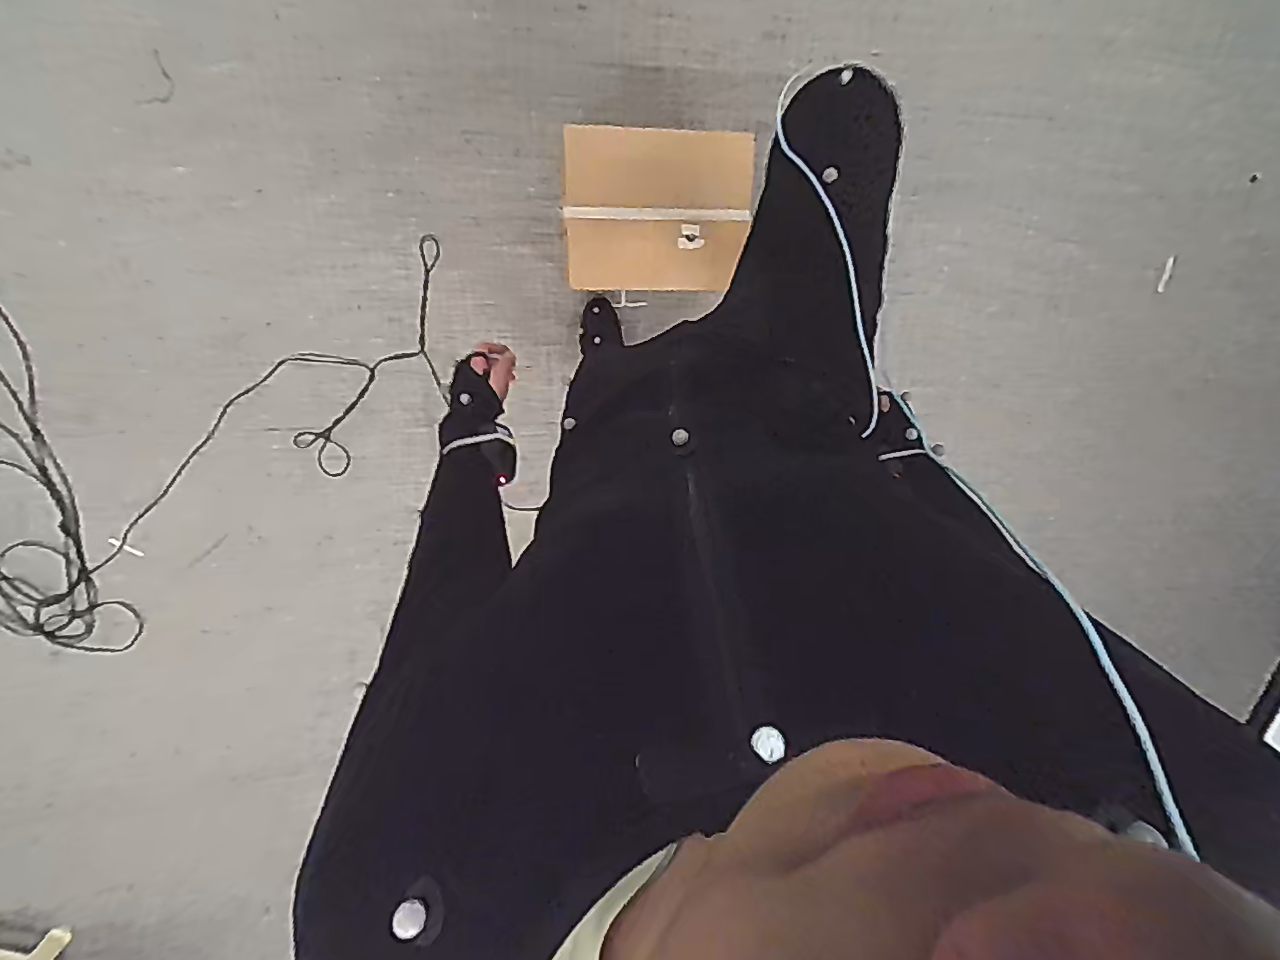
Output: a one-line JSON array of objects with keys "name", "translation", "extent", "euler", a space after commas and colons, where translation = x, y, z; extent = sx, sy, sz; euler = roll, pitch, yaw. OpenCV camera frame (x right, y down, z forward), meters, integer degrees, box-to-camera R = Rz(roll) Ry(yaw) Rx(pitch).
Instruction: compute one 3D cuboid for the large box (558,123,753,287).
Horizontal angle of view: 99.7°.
[{"name": "large box", "translation": [0.020, -0.638, 1.301], "extent": [0.408, 0.320, 0.320], "euler": [-4, 112, -9]}]
